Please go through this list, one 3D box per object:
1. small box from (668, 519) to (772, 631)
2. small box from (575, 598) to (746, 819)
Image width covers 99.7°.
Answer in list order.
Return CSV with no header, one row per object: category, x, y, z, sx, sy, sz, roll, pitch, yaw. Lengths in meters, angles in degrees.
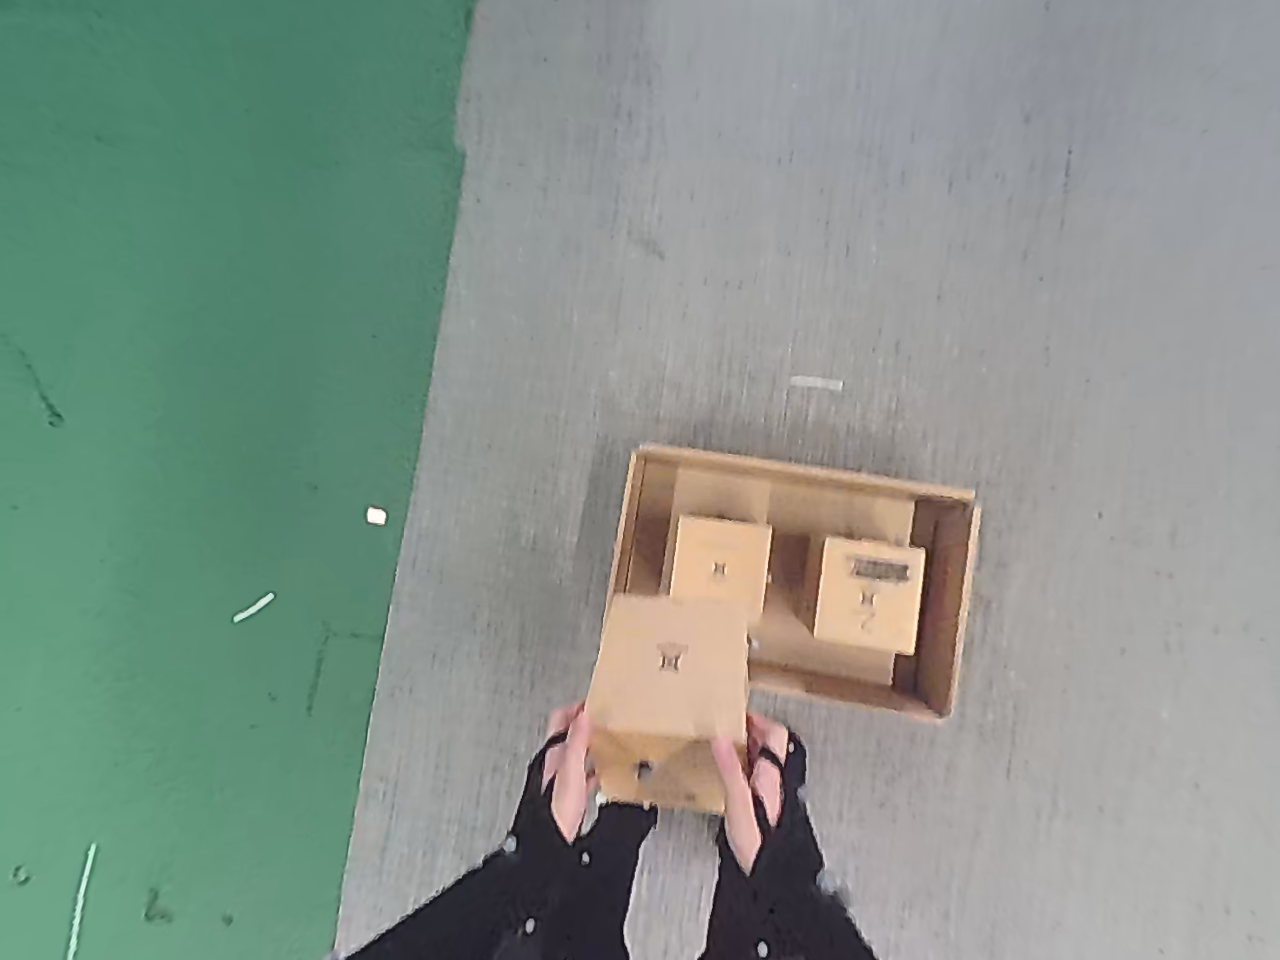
small box,0.148,0.172,1.027,0.168,0.176,0.179,8,86,6
small box,0.037,0.261,0.628,0.168,0.179,0.176,0,125,11
